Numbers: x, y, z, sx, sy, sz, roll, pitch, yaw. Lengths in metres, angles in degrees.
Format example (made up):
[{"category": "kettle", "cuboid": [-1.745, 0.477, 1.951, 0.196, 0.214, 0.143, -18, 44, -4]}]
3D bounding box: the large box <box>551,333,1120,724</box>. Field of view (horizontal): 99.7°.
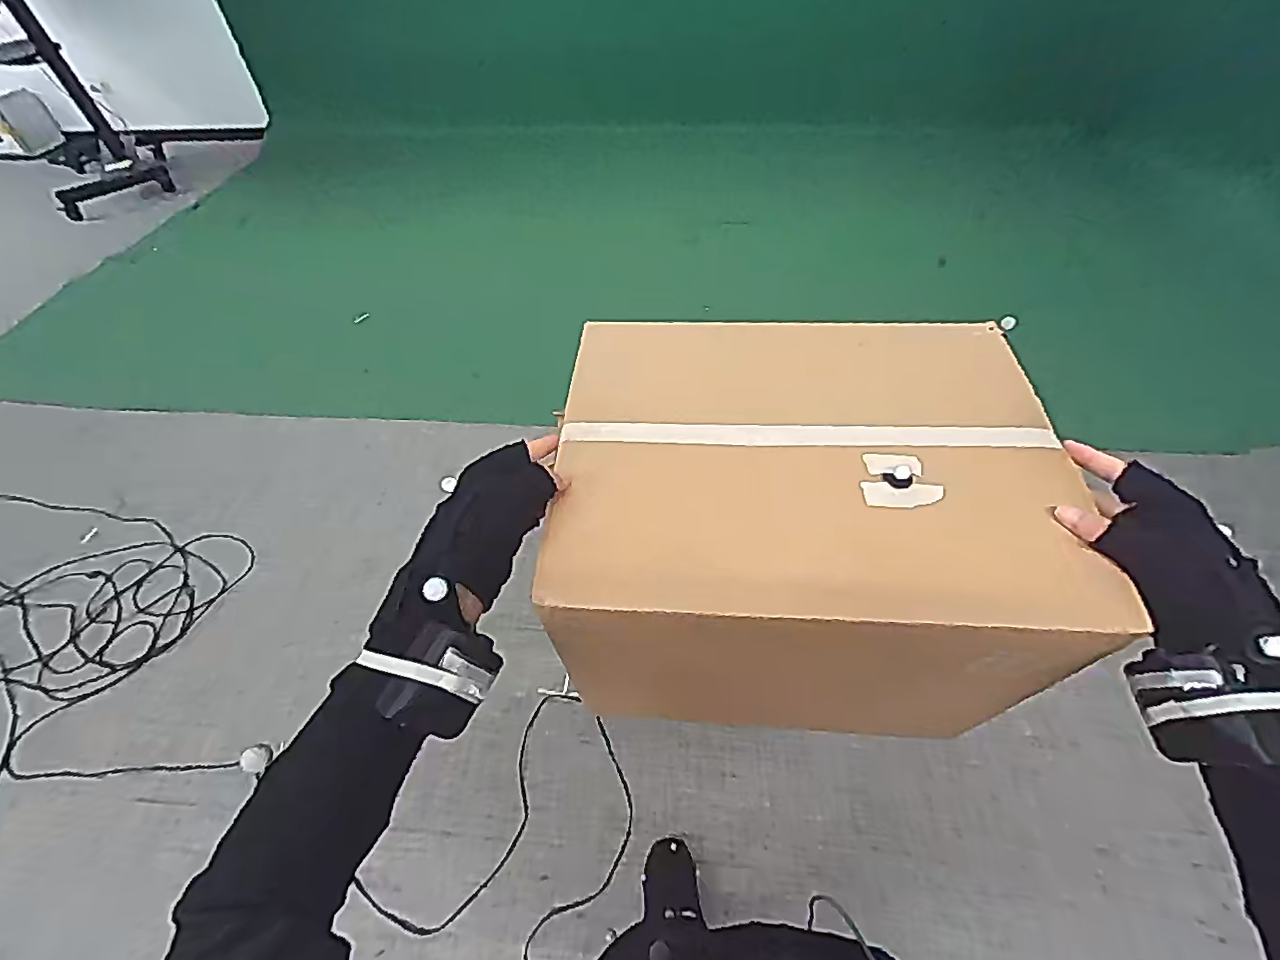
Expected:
[{"category": "large box", "cuboid": [0.142, 0.060, 0.585, 0.408, 0.320, 0.320, 2, 54, 4]}]
